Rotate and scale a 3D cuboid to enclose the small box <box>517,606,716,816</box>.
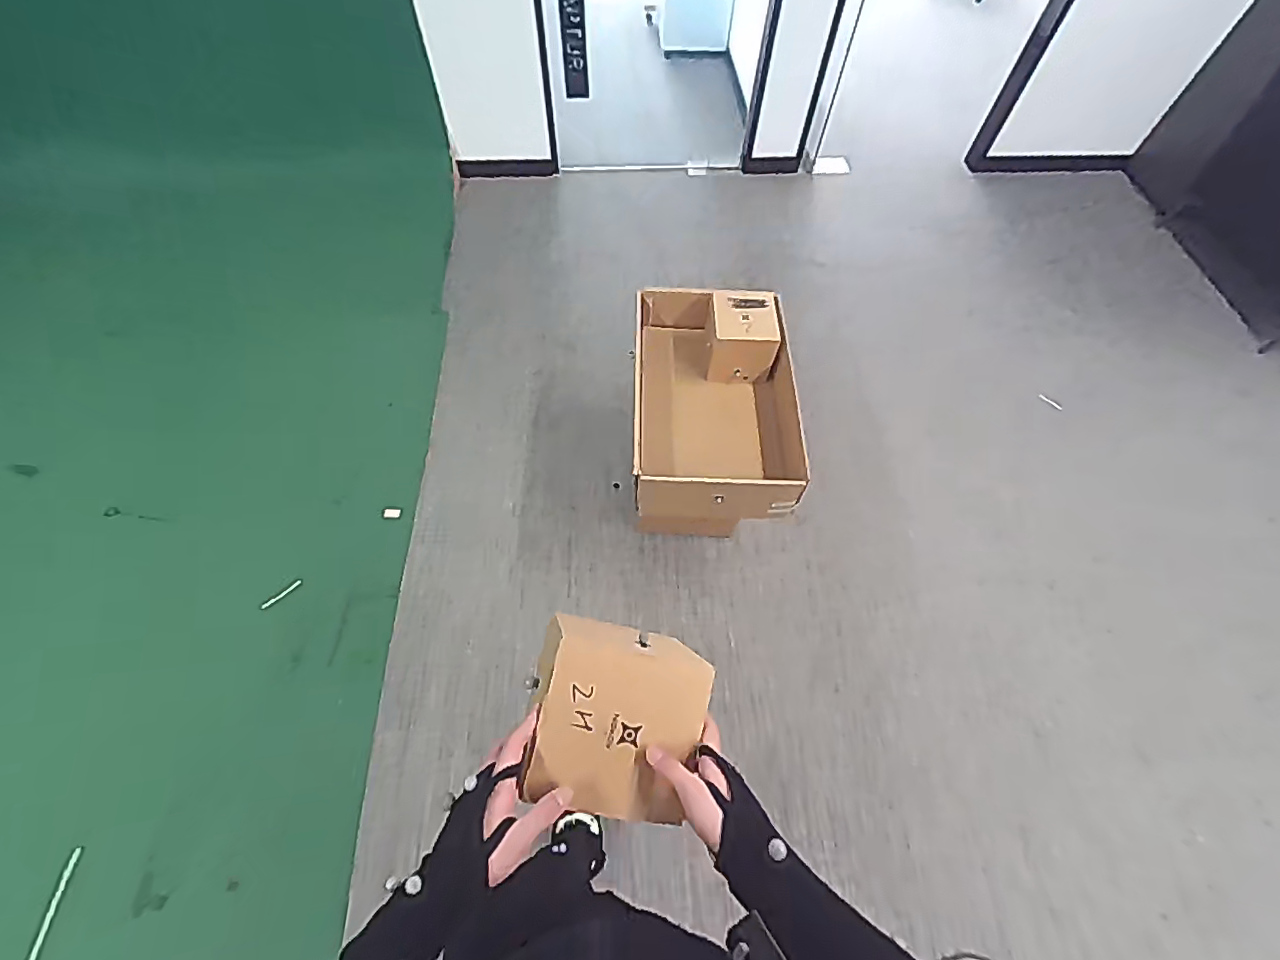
[{"bbox_3d":[-0.035,0.255,0.634,0.179,0.176,0.168,16,82,-10],"label":"small box"}]
